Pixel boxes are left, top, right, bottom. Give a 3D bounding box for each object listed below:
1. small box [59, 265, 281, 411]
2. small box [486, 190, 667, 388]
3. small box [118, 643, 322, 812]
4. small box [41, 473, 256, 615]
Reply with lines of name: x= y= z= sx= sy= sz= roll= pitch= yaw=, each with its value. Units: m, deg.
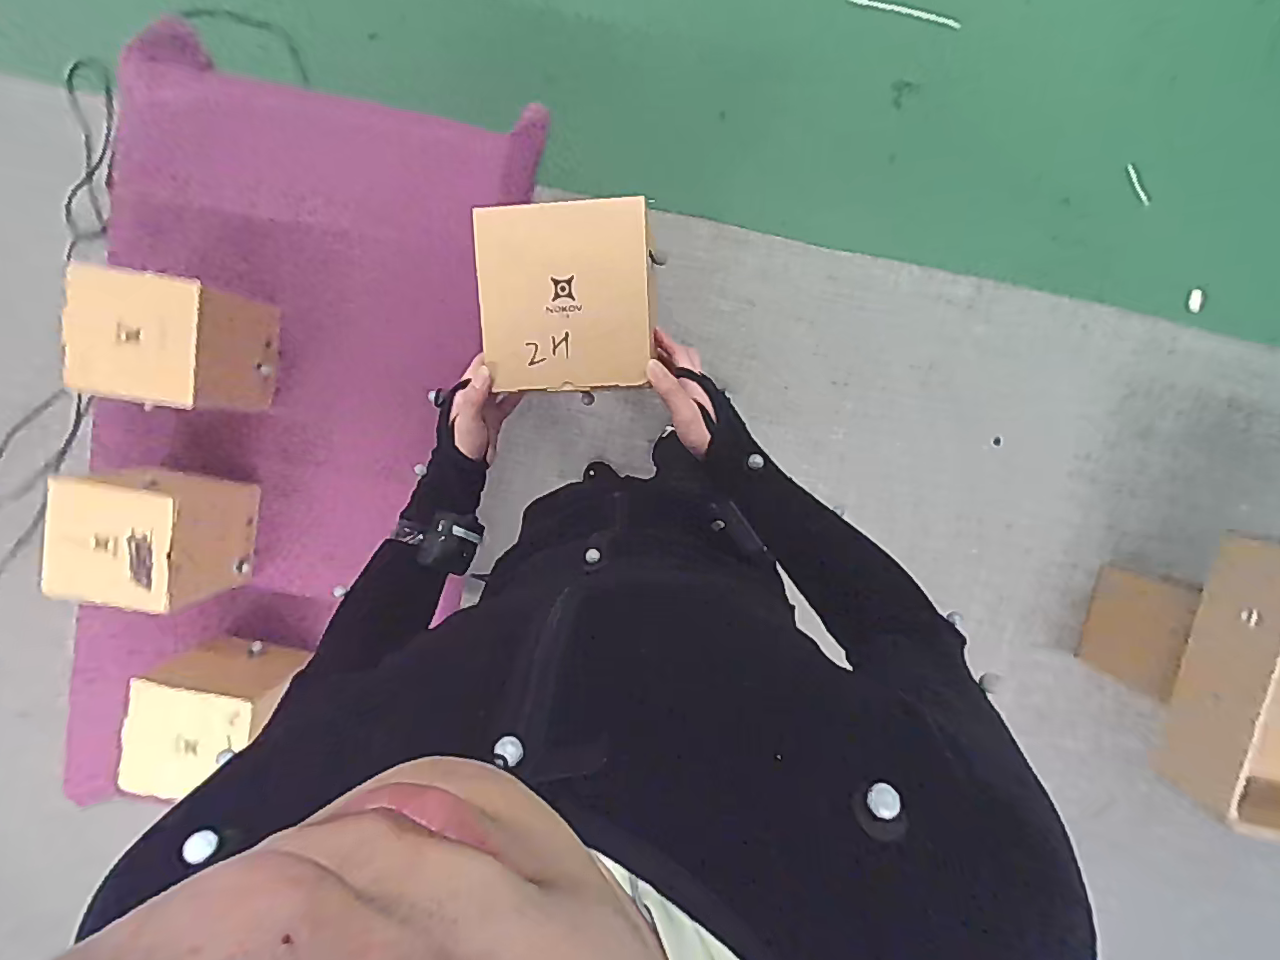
small box: x=-0.669 y=-0.193 z=0.787 sx=0.179 sy=0.176 sz=0.168 roll=9 pitch=96 yaw=-2
small box: x=-0.058 y=-0.192 z=0.592 sx=0.168 sy=0.176 sz=0.179 roll=0 pitch=99 yaw=5
small box: x=-0.637 y=0.369 z=0.837 sx=0.179 sy=0.176 sz=0.168 roll=11 pitch=95 yaw=-1
small box: x=-0.721 y=0.085 z=0.812 sx=0.179 sy=0.176 sz=0.168 roll=9 pitch=95 yaw=0
